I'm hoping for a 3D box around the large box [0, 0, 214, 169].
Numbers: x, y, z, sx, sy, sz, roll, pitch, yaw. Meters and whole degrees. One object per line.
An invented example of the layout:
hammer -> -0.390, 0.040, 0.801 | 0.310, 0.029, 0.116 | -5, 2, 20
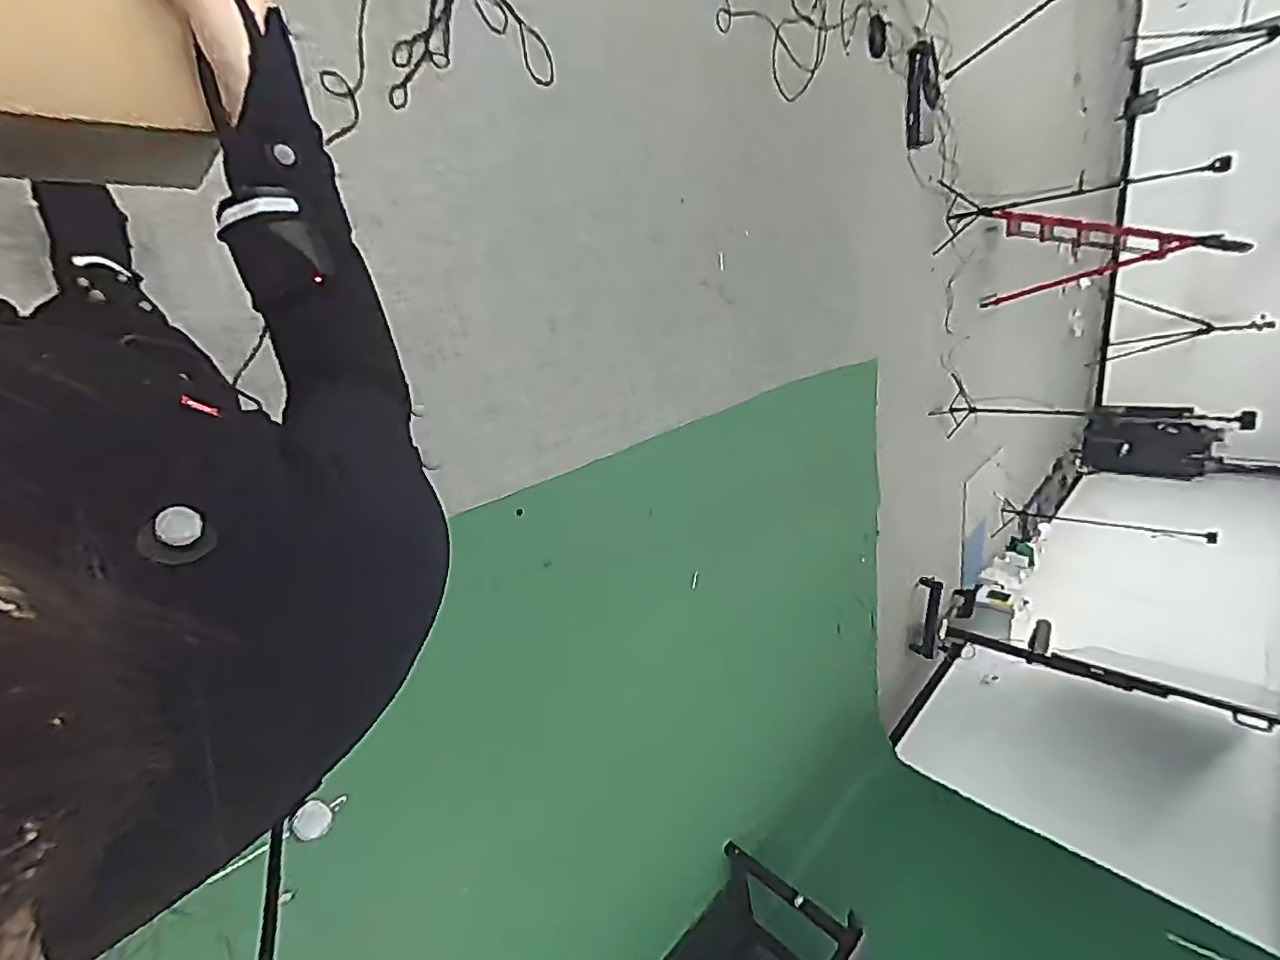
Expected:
large box -> -0.559, -0.389, 0.327 | 0.408, 0.320, 0.320 | -18, 117, -36
